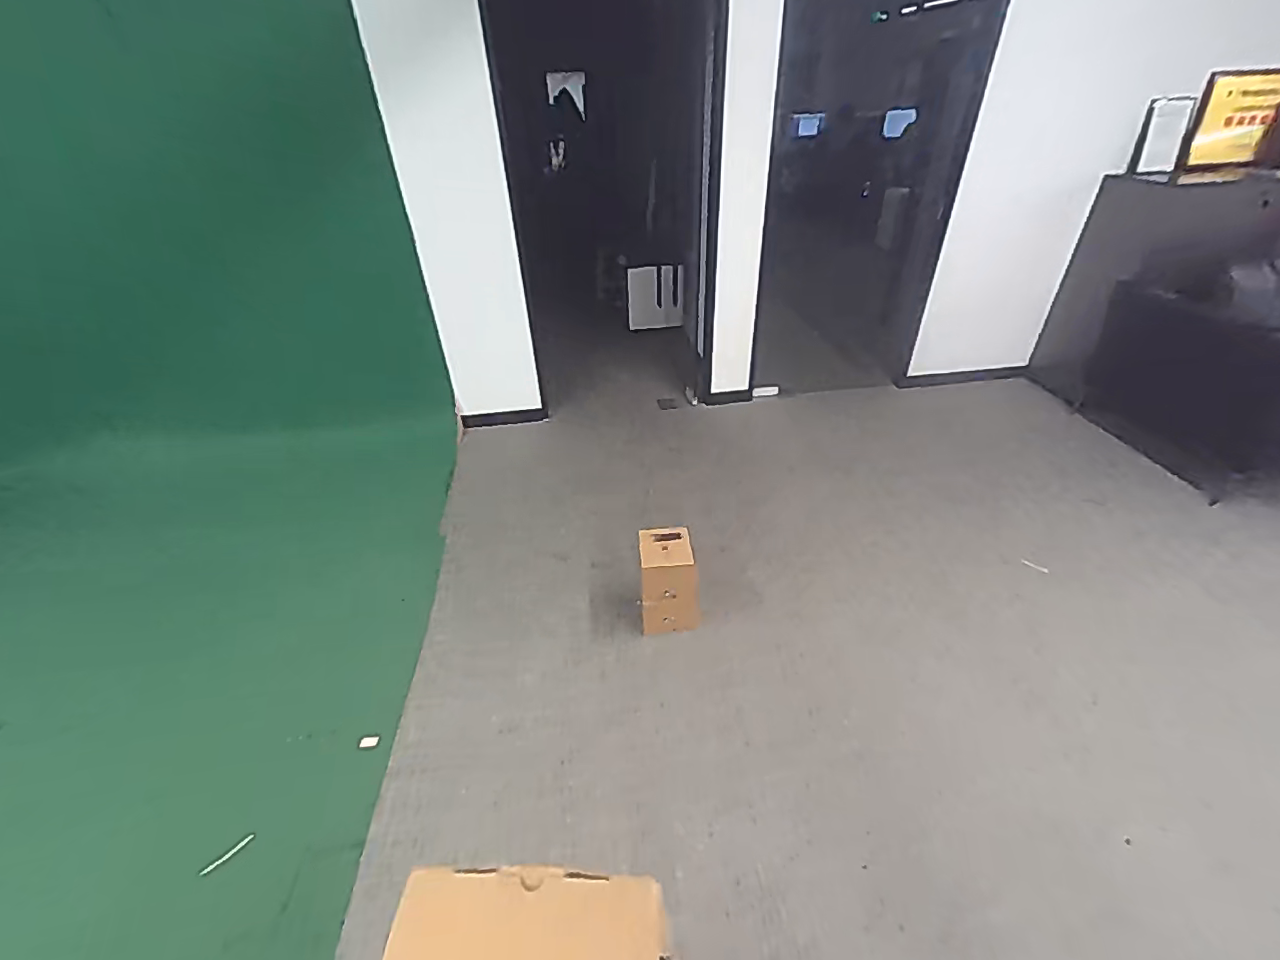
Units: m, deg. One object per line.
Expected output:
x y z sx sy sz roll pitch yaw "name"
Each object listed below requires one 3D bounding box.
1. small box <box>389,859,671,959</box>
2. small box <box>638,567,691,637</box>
-0.066 0.373 0.345 0.168 0.176 0.179 -1 40 6 "small box"
0.086 0.430 1.878 0.168 0.176 0.179 -5 36 -4 "small box"
